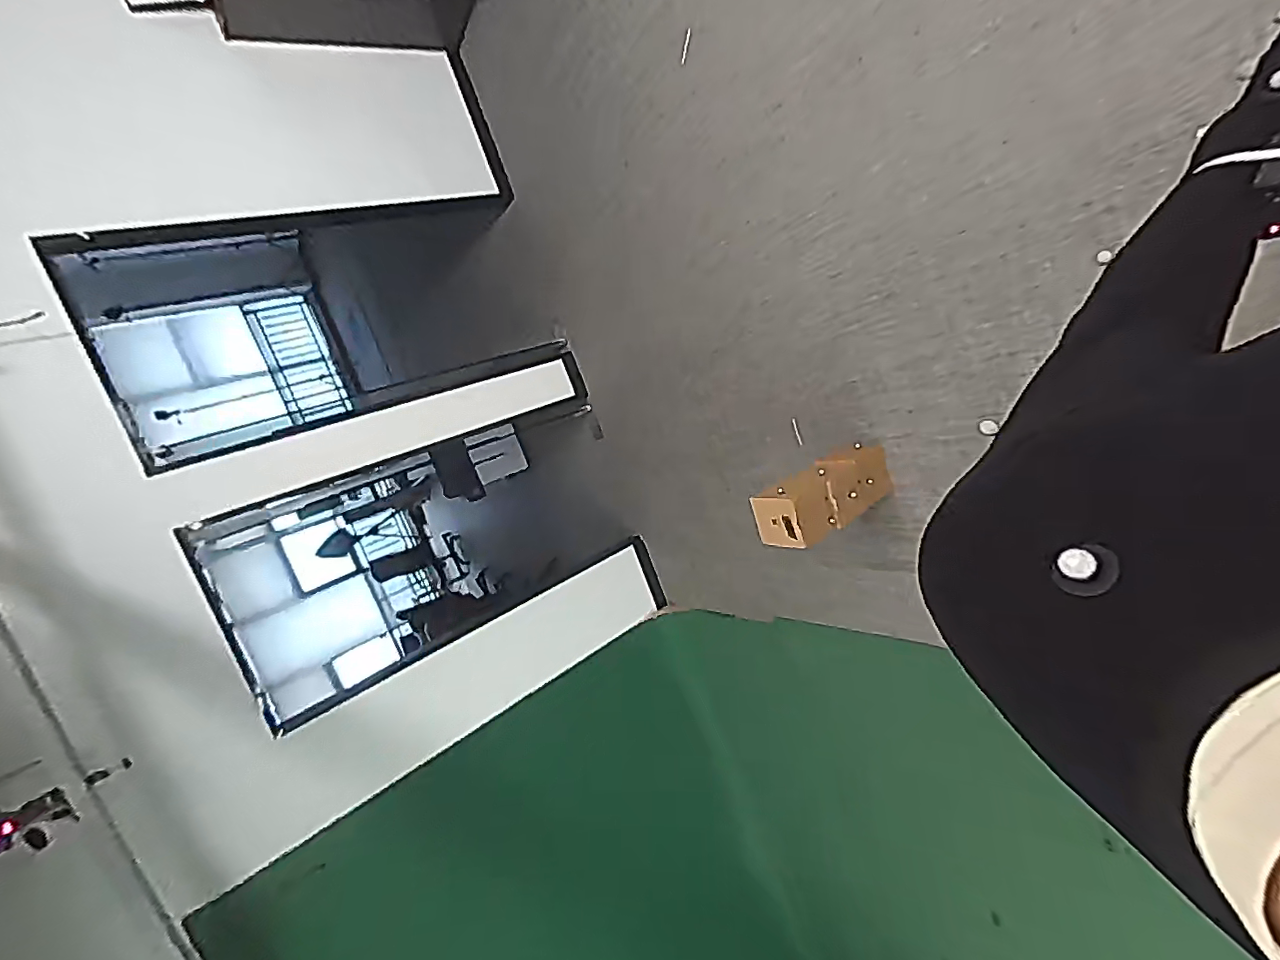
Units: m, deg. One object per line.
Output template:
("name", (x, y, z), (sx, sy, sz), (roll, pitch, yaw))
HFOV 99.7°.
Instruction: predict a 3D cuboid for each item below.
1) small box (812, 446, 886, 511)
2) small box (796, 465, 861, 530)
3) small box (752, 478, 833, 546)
("small box", (0.735, -0.009, 1.887), (0.168, 0.176, 0.179), (1, 112, 54))
("small box", (0.613, 0.054, 1.798), (0.179, 0.176, 0.168), (0, 111, 54))
("small box", (0.492, 0.097, 1.723), (0.179, 0.176, 0.168), (-1, 110, 55))
